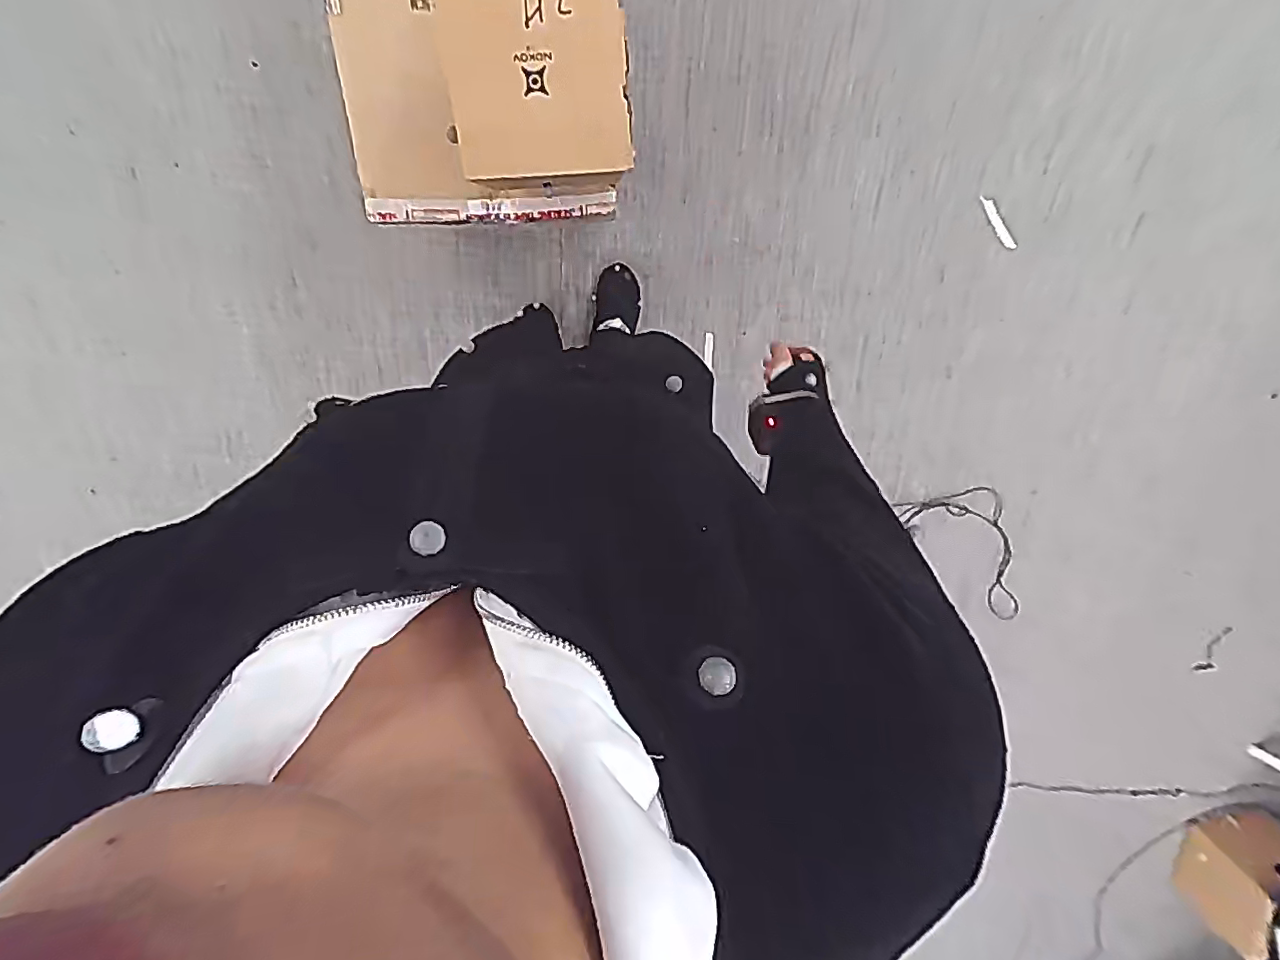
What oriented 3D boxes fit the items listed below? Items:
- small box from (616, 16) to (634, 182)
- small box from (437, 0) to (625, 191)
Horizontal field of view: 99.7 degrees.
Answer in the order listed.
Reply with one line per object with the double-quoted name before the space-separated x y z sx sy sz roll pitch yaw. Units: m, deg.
"small box" -0.105 -0.495 0.731 0.179 0.176 0.168 -5 115 -2
"small box" -0.105 -0.416 0.585 0.168 0.176 0.179 -5 115 -3
